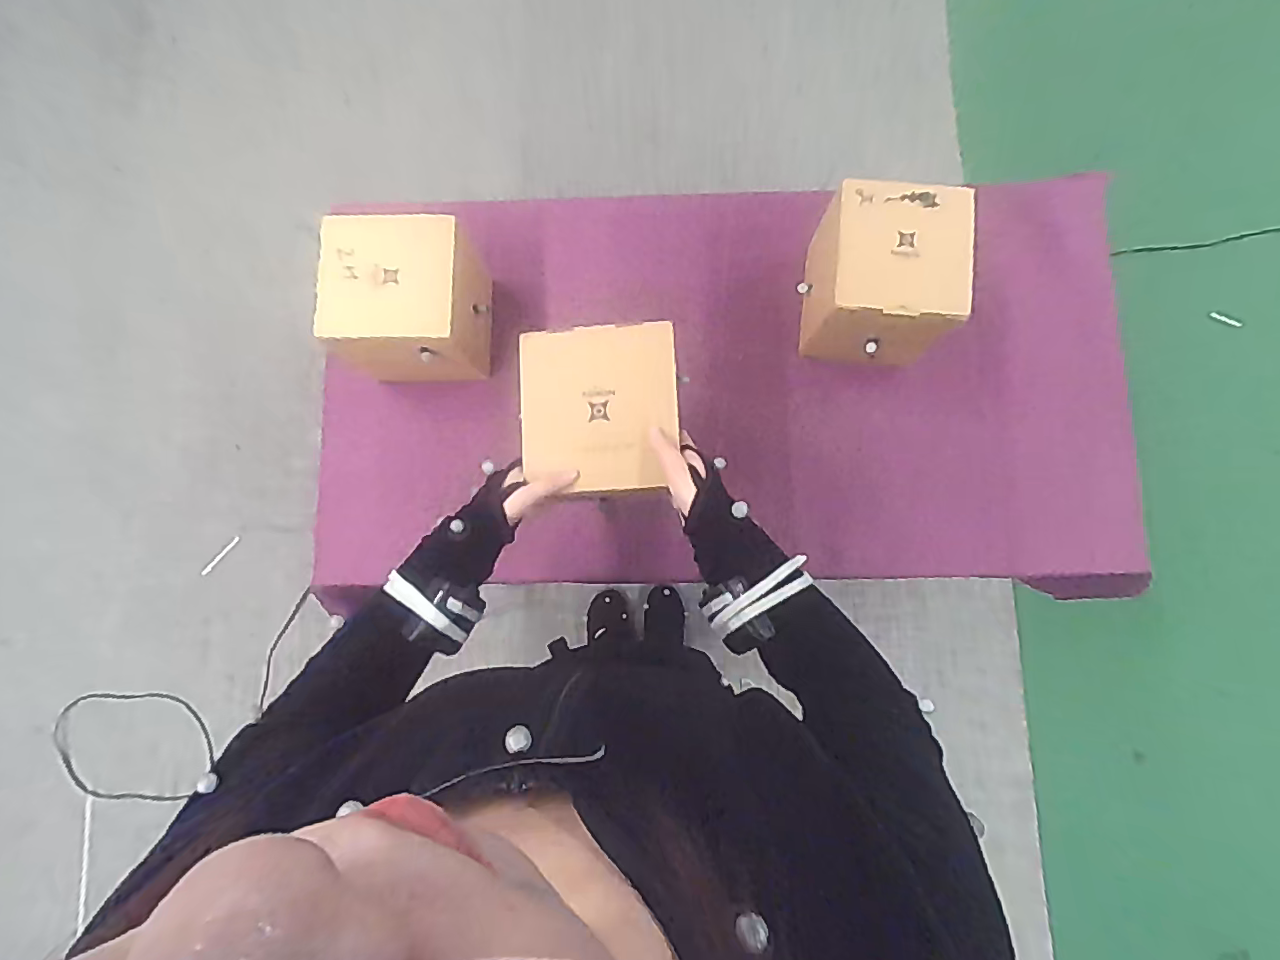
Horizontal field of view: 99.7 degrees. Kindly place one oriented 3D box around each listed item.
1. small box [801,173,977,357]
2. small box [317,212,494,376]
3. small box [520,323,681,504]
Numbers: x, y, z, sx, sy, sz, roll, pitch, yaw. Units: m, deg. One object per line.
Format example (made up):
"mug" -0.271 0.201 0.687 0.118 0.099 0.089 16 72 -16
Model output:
"small box" 0.329 -0.282 0.745 0.168 0.176 0.179 7 84 3
"small box" -0.316 -0.252 0.764 0.179 0.176 0.168 1 82 2
"small box" -0.037 -0.066 0.638 0.168 0.176 0.179 -3 84 5
